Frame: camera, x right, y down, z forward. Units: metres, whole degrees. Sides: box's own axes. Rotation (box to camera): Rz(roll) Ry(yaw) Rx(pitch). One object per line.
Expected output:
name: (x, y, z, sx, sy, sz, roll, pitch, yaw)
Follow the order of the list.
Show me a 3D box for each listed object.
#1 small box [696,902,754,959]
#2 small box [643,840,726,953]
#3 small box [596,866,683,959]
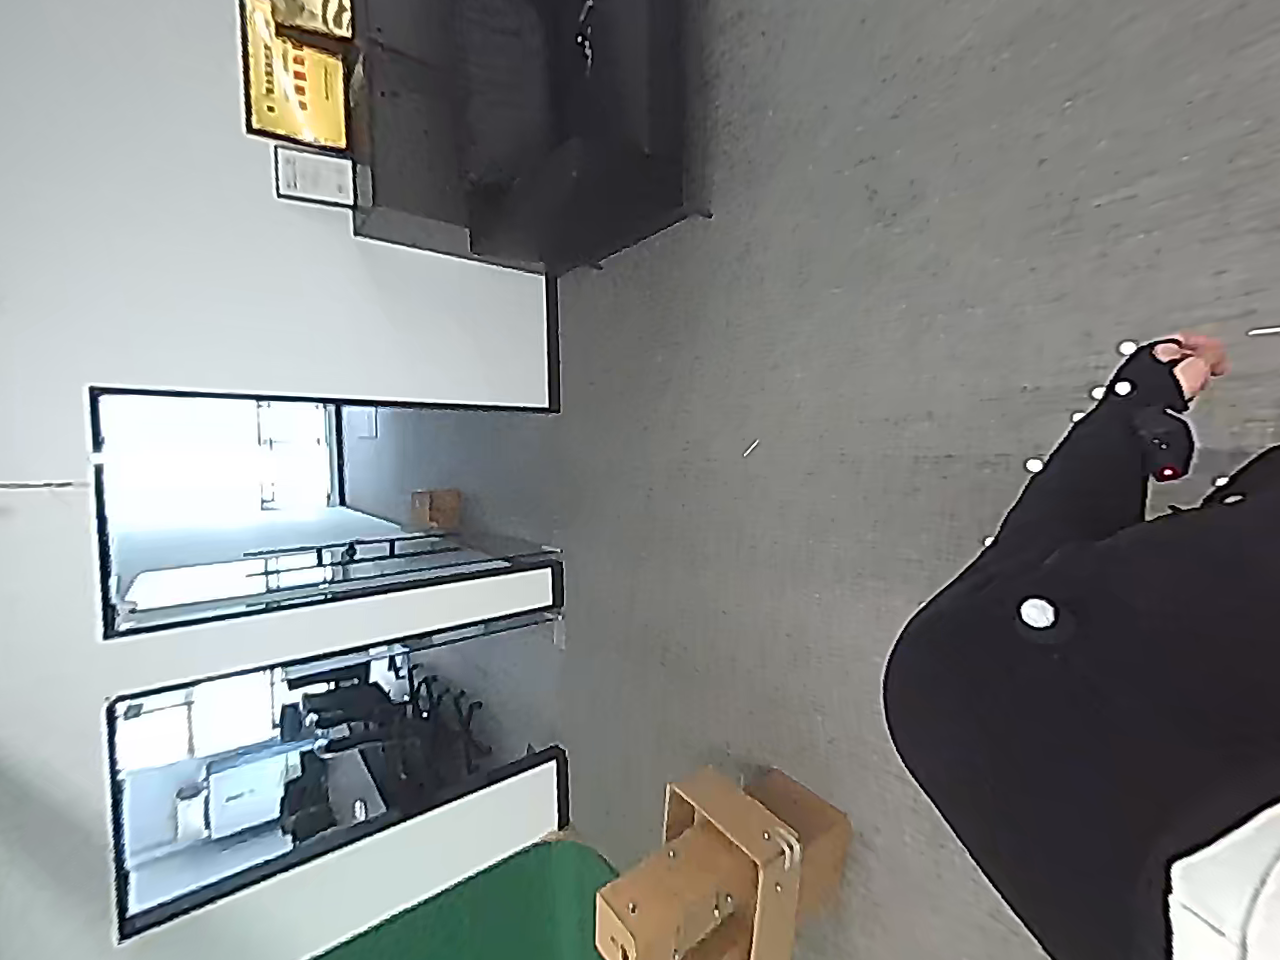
small box: (0.233, 1.470, 1.703, 0.179, 0.176, 0.168, 15, 105, 50)
small box: (0.124, 1.184, 1.560, 0.179, 0.176, 0.168, 11, 102, 49)
small box: (0.000, 1.194, 1.453, 0.179, 0.176, 0.168, 11, 102, 51)
